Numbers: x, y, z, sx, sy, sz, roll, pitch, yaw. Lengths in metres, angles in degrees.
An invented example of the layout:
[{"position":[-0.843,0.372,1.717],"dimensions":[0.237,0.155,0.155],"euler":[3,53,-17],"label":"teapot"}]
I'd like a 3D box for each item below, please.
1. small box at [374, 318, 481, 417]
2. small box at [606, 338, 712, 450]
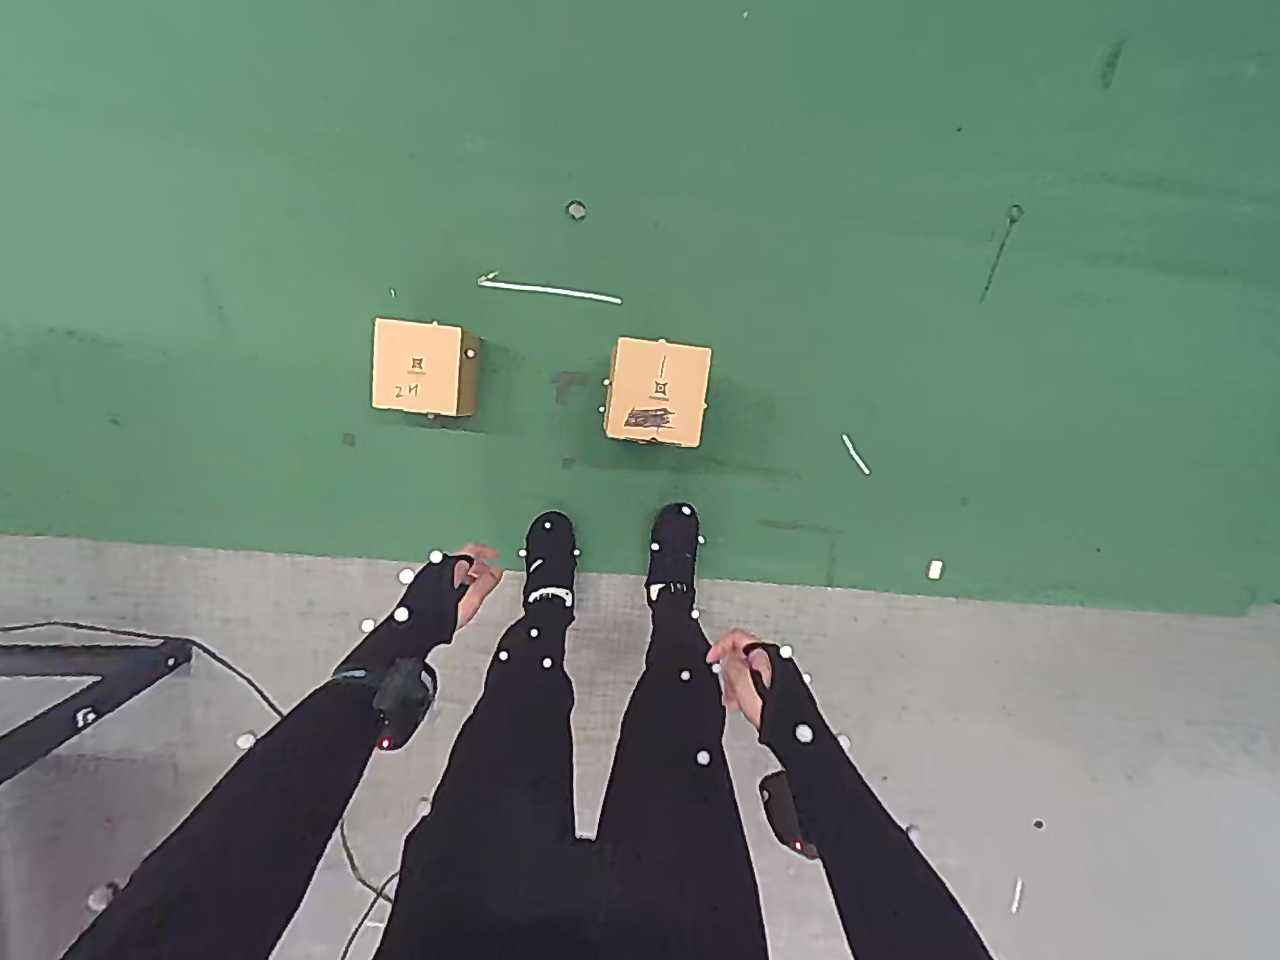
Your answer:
[{"position":[-0.439,-0.231,1.140],"dimensions":[0.168,0.176,0.179],"euler":[6,98,-4],"label":"small box"},{"position":[0.028,-0.160,1.021],"dimensions":[0.168,0.176,0.179],"euler":[7,98,-6],"label":"small box"}]
